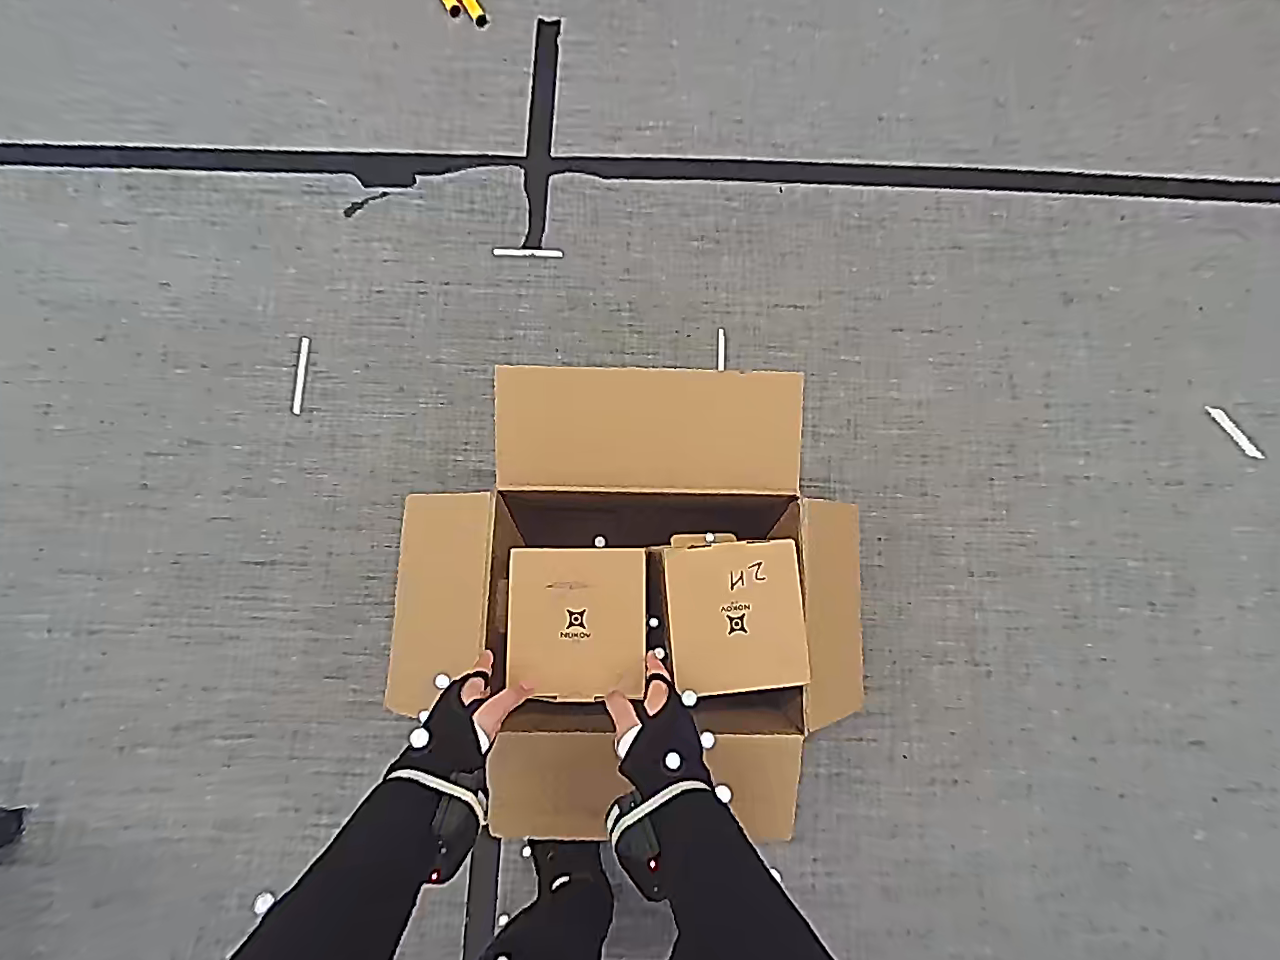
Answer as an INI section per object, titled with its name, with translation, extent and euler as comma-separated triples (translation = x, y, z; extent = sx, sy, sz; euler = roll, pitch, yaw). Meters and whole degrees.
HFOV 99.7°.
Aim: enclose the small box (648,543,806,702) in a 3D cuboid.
[small box]
translation = 0.105, 0.177, 0.721
extent = 0.168, 0.176, 0.179
euler = -4, 83, -6
